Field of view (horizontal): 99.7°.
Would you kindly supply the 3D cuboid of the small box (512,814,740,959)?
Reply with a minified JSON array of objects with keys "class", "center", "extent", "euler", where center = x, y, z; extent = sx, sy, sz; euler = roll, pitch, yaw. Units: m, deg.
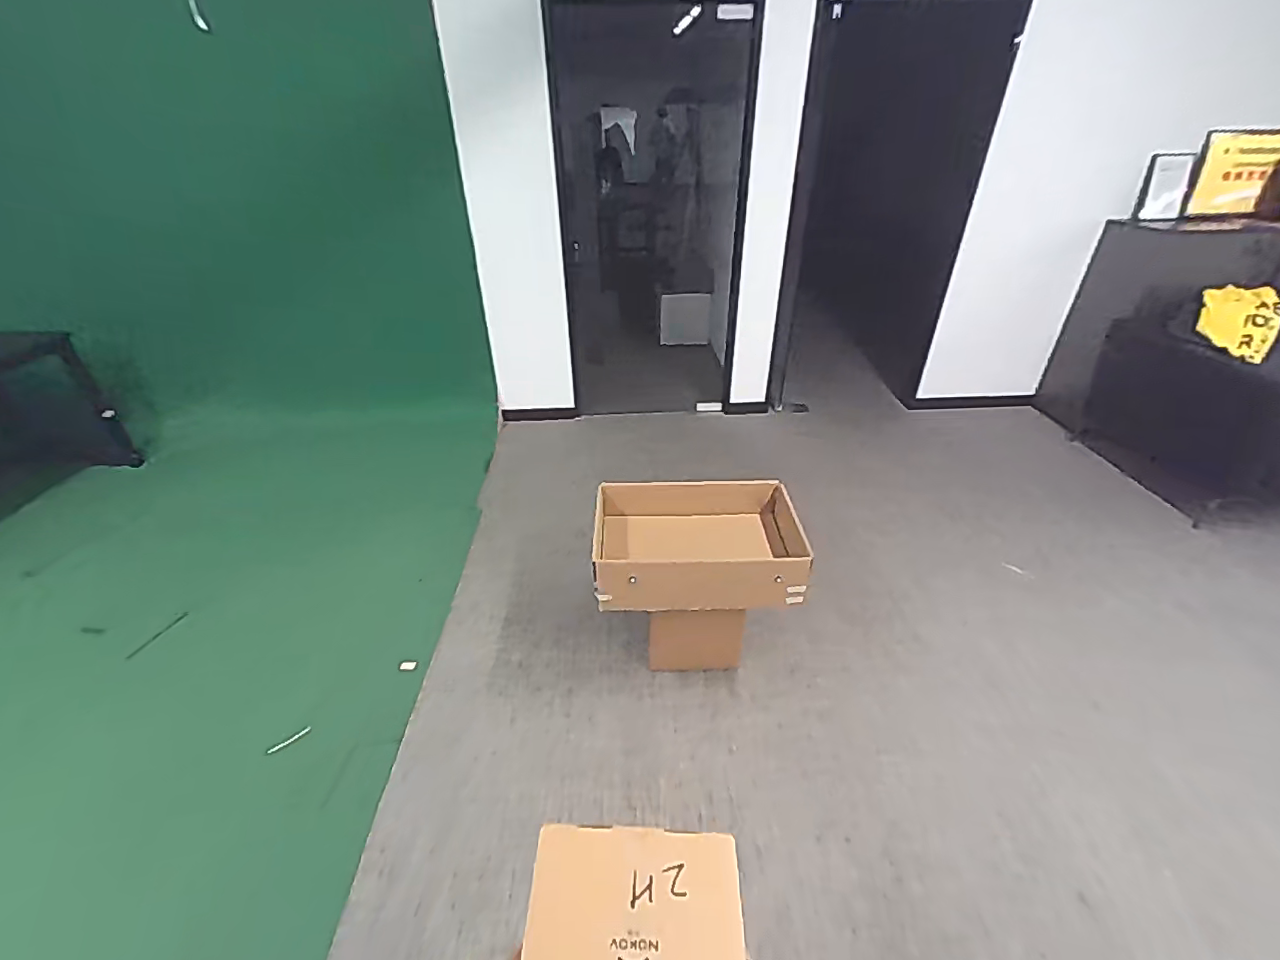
[{"class":"small box","center":[-0.013,0.401,0.434],"extent":[0.168,0.176,0.179],"euler":[4,38,-1]}]
